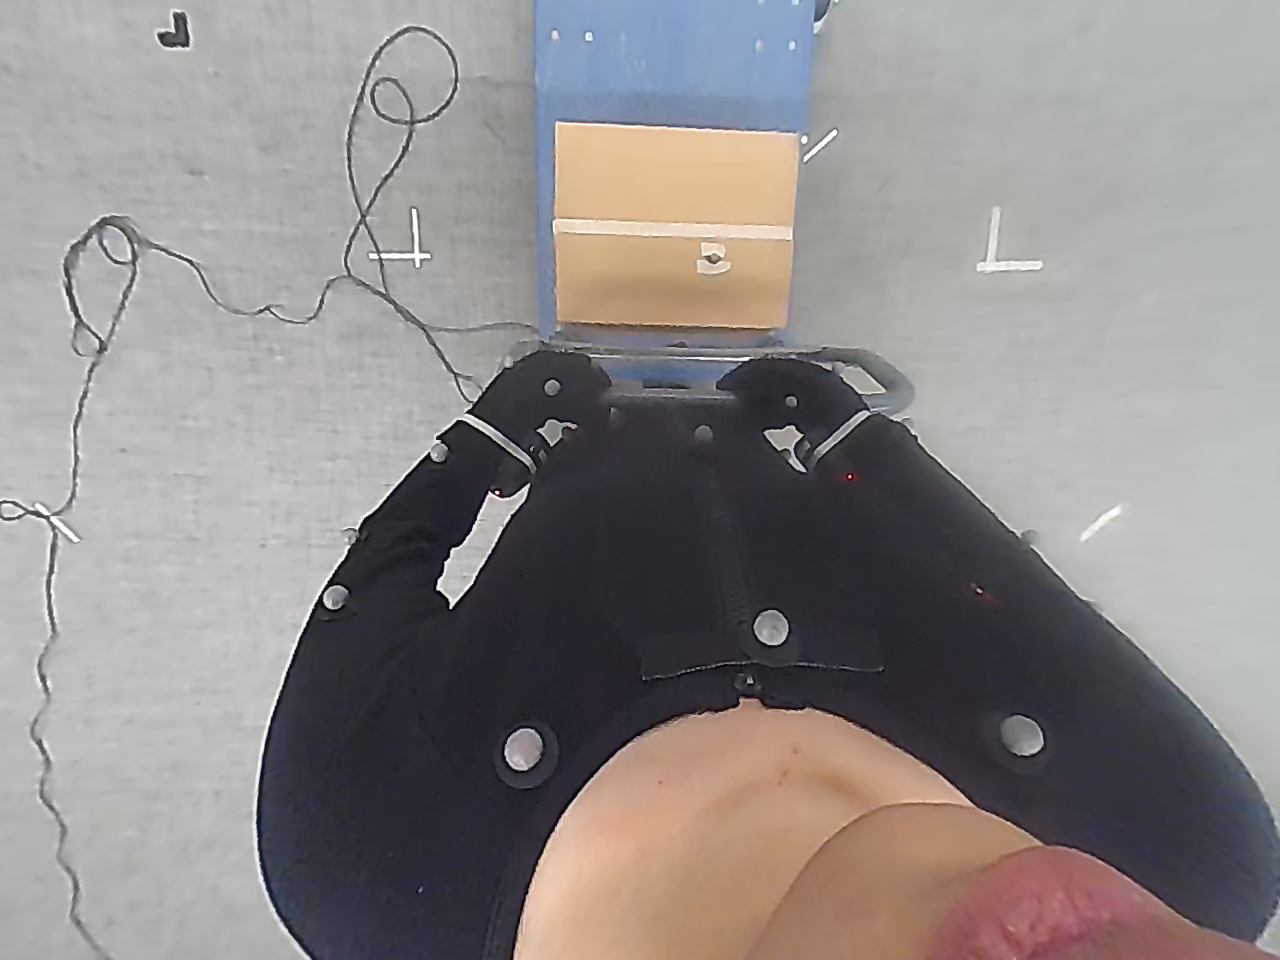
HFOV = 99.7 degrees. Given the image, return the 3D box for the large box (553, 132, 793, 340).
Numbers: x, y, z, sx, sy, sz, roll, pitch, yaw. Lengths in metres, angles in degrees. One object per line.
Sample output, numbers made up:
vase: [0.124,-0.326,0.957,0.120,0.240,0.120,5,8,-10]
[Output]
large box: [0.046,-0.443,1.061,0.408,0.320,0.320,1,102,-3]
